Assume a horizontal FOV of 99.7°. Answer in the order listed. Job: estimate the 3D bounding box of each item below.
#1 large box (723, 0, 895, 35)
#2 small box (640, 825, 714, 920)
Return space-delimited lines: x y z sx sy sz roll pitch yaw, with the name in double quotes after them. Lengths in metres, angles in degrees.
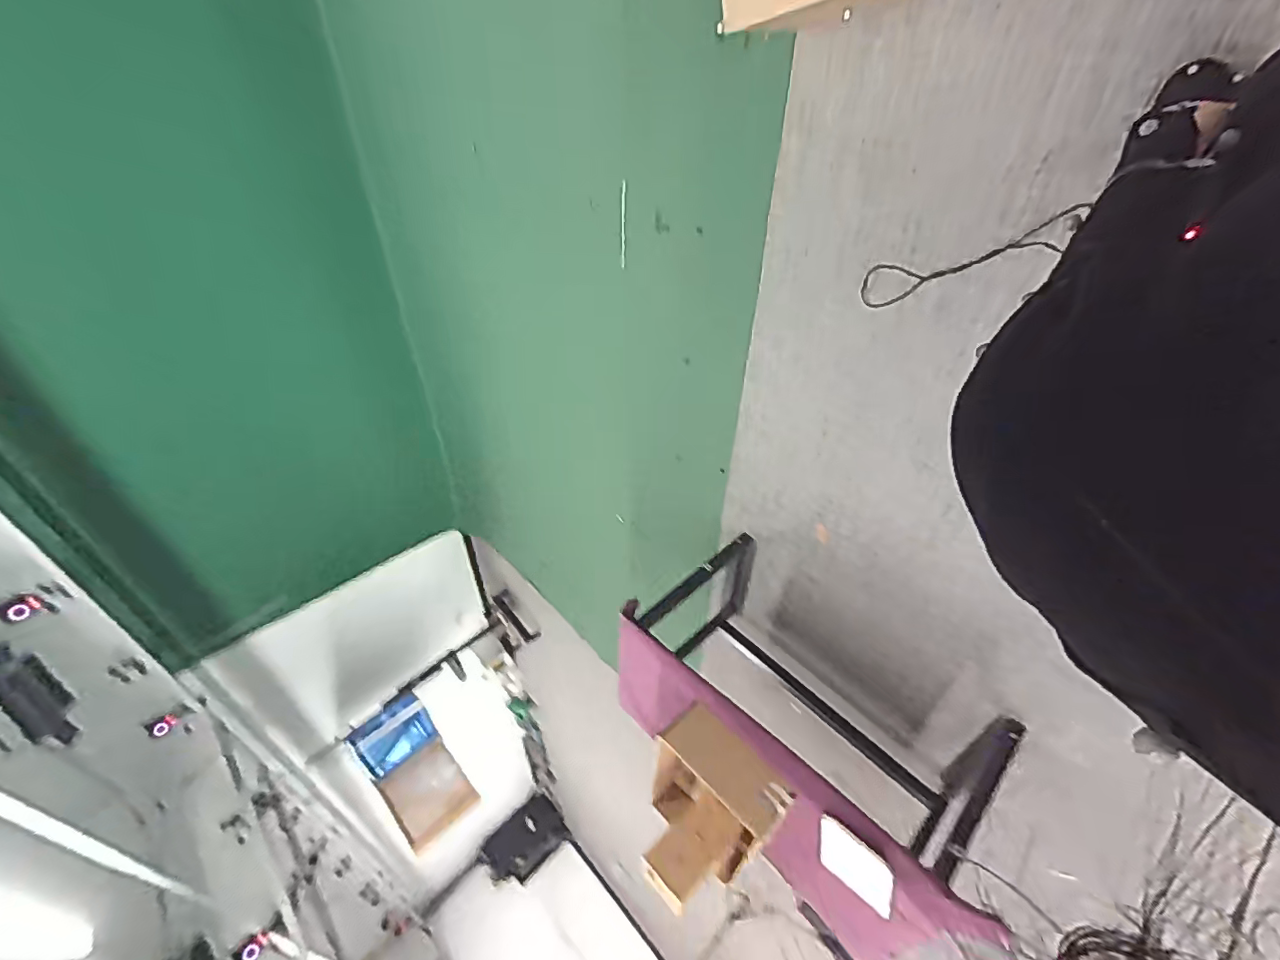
0.406 -1.125 1.059 0.408 0.320 0.320 23 132 44 "large box"
0.119 1.281 1.780 0.179 0.176 0.168 33 138 33 "small box"
